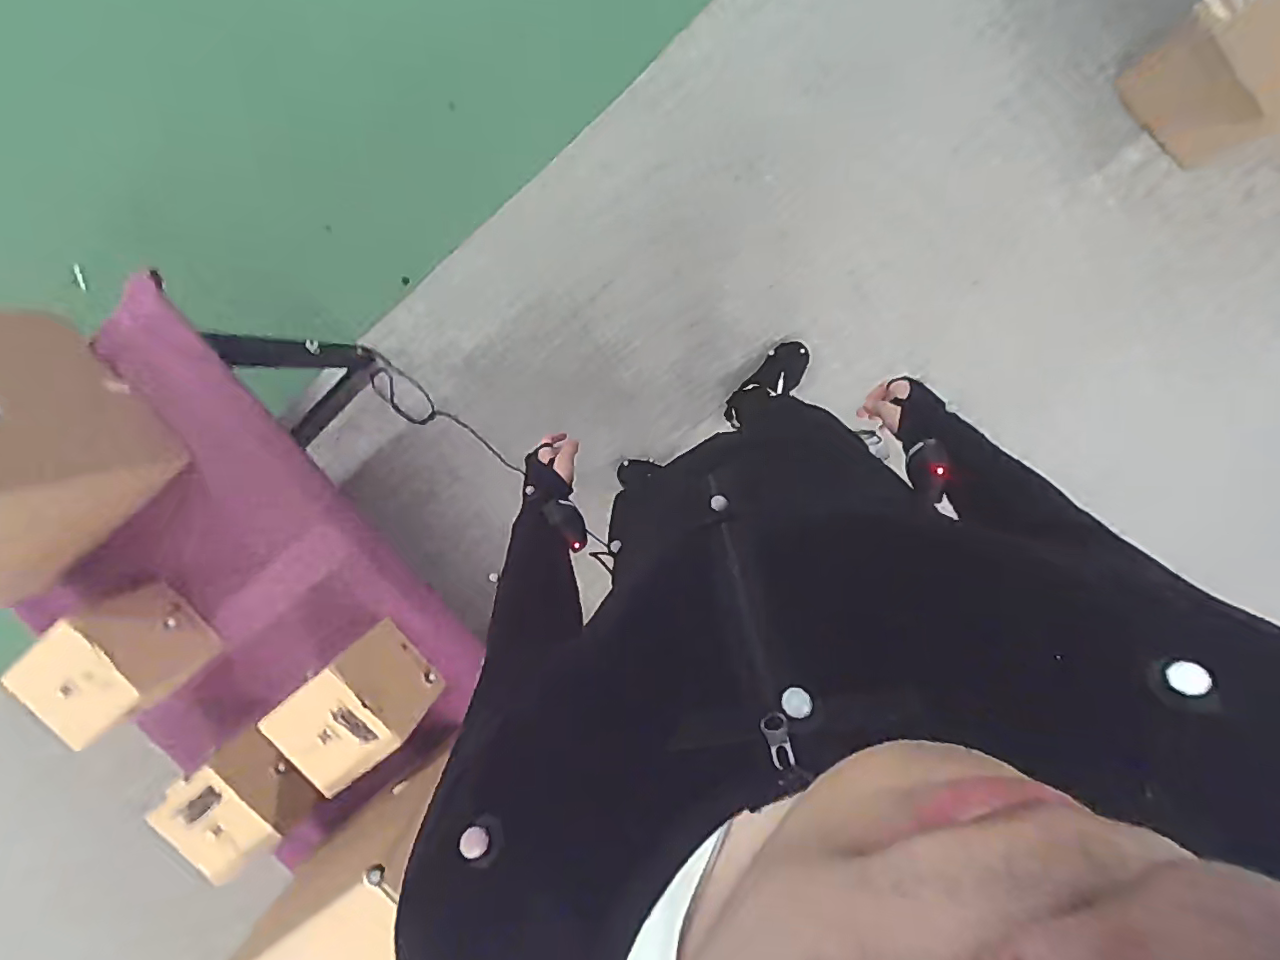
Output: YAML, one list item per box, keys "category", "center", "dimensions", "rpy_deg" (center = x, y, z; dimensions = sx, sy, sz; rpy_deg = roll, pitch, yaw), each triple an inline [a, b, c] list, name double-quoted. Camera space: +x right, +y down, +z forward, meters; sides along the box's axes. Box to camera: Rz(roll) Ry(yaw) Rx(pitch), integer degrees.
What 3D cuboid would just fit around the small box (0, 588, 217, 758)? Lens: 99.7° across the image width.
- category: "small box"
  center: [-0.889, 0.319, 0.922]
  dimensions: [0.179, 0.176, 0.168]
  rpy_deg: [-39, 97, 9]
